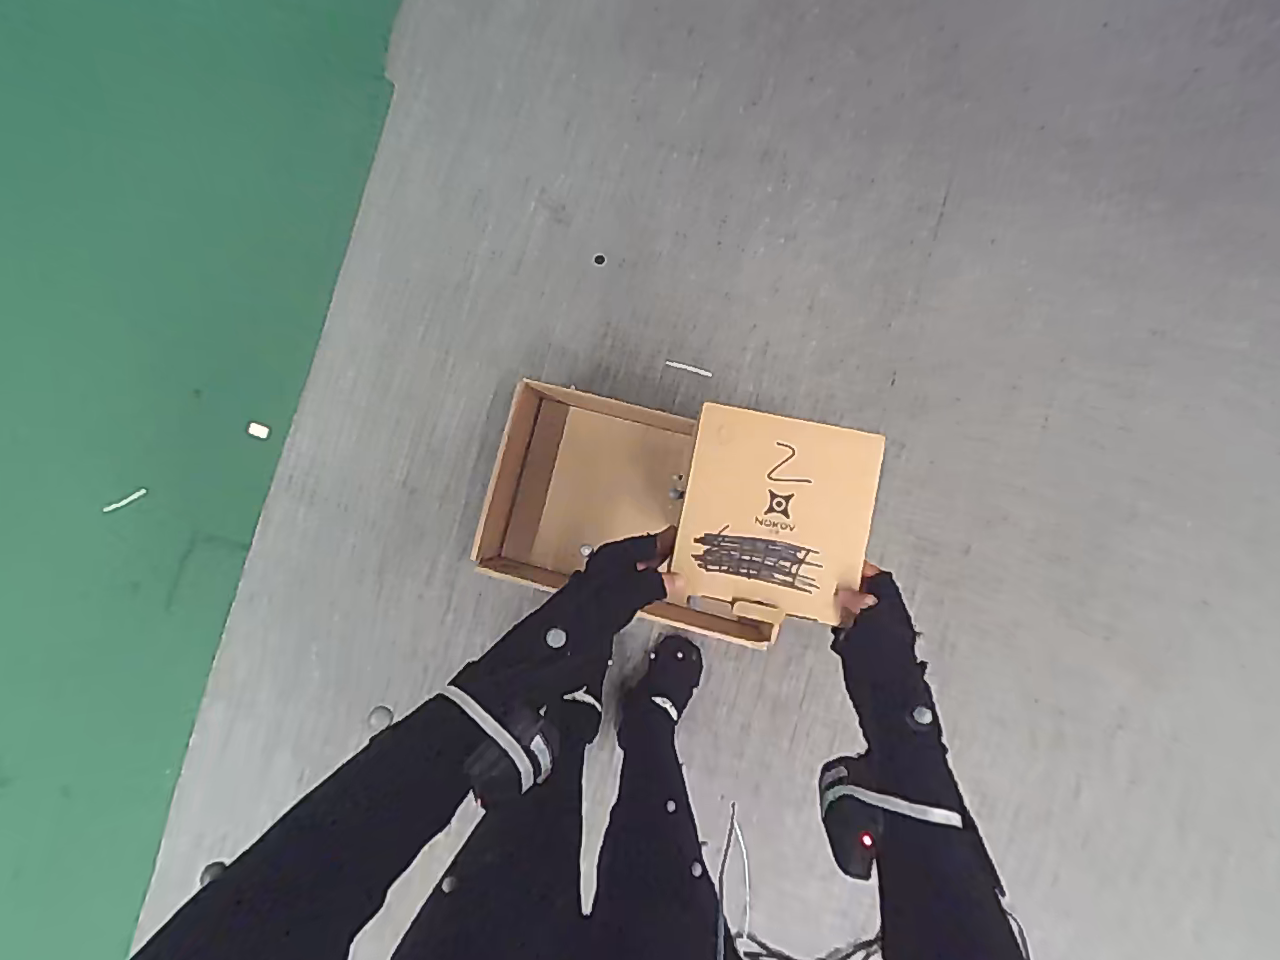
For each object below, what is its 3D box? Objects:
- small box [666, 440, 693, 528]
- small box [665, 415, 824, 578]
[{"bbox_3d":[0.153,0.026,1.098,0.168,0.176,0.179,10,88,6],"label":"small box"},{"bbox_3d":[0.140,0.022,0.769,0.168,0.176,0.179,16,89,4],"label":"small box"}]
